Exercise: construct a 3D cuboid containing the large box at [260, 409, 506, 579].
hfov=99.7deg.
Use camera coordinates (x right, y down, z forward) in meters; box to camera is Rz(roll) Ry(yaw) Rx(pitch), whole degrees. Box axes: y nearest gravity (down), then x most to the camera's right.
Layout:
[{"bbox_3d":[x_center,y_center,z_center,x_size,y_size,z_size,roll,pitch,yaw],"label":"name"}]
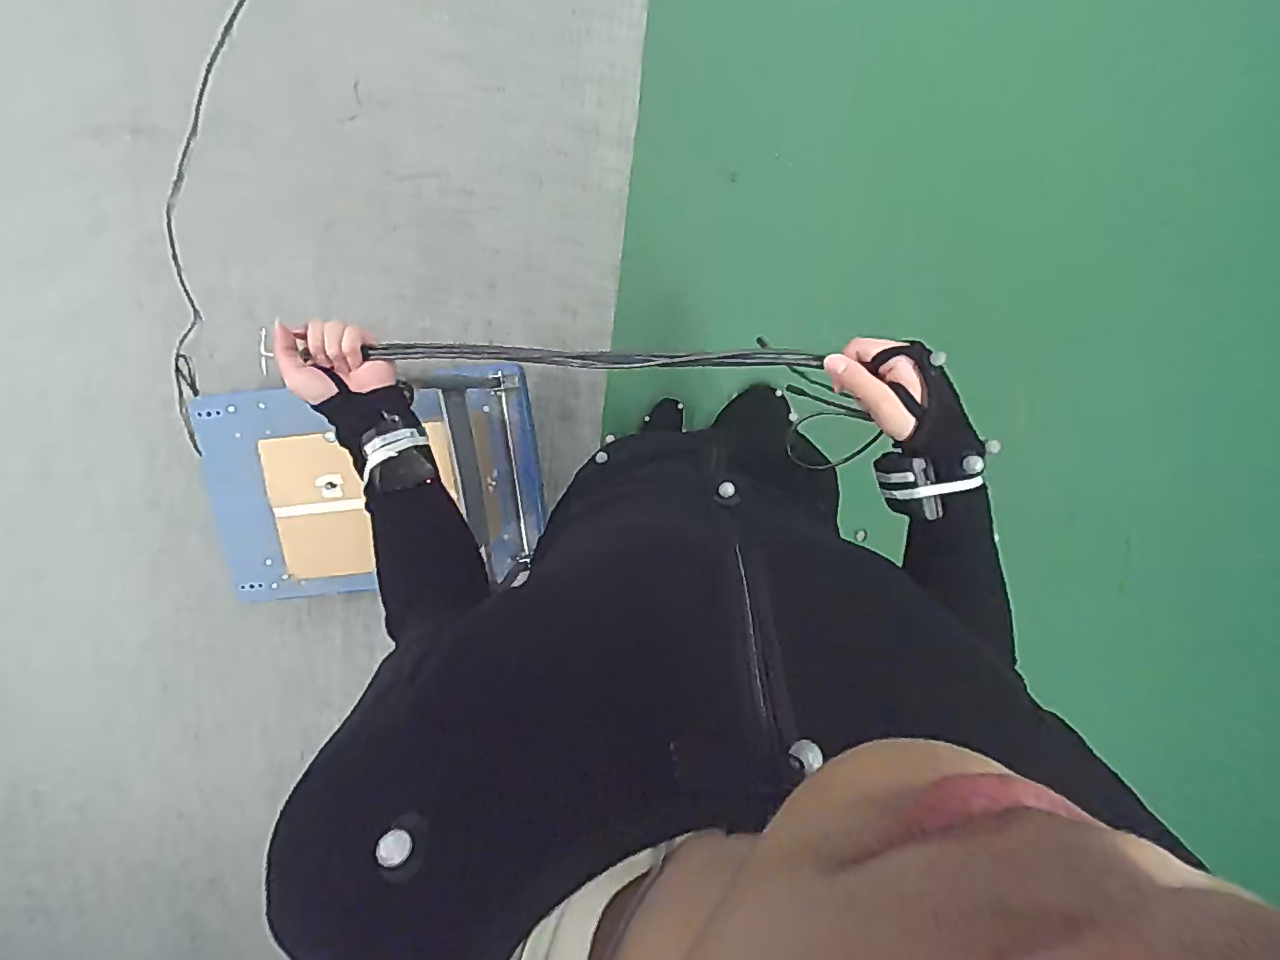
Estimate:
[{"bbox_3d":[-0.573,0.015,1.286,0.408,0.320,0.320,-6,100,1],"label":"large box"}]
